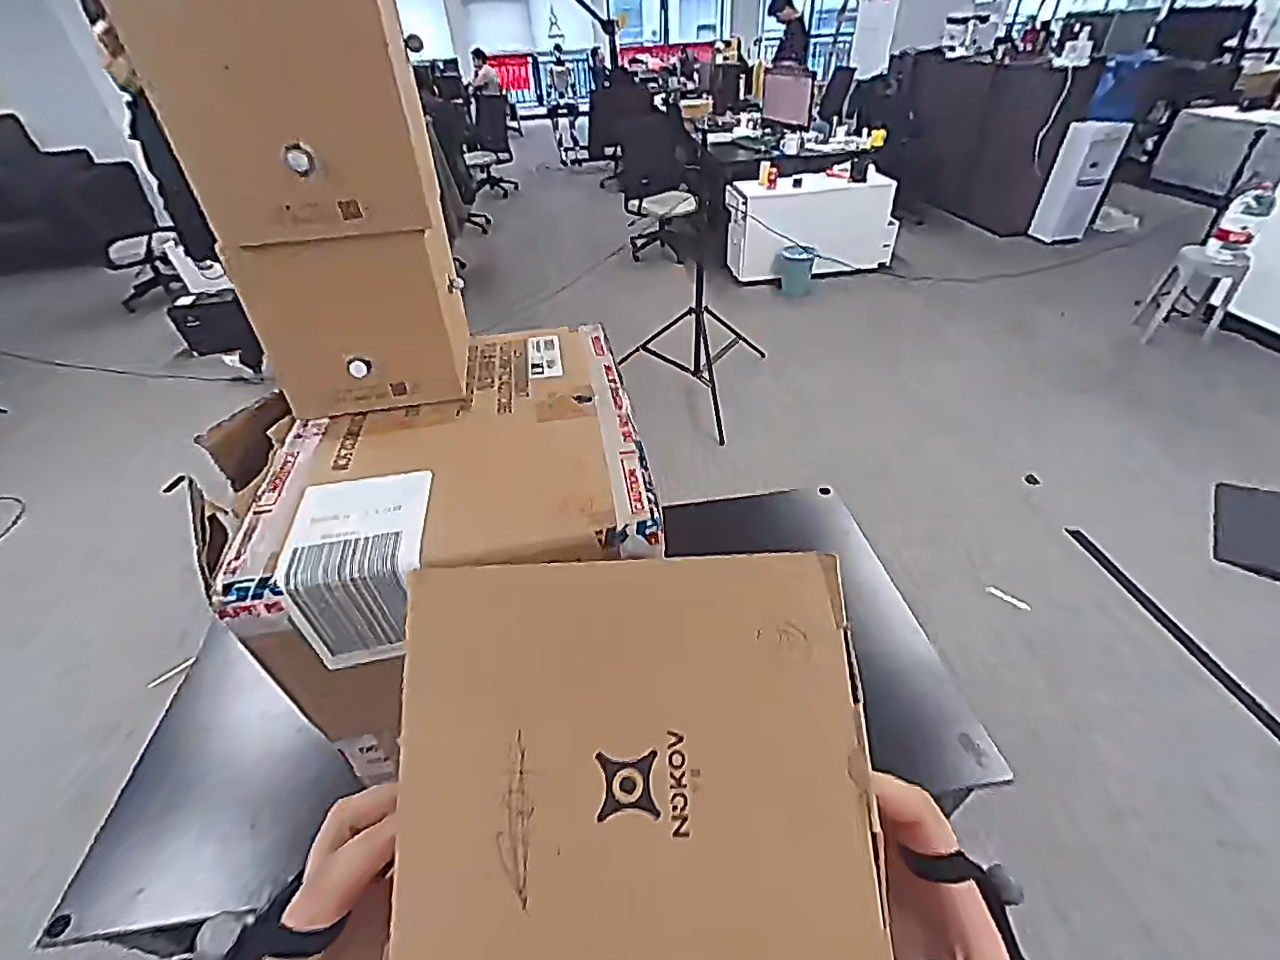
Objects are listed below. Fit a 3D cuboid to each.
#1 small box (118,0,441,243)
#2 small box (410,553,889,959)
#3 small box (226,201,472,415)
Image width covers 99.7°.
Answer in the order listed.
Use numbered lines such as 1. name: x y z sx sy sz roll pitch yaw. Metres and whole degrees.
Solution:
1. small box: -0.277 -0.314 0.464 0.168 0.176 0.179 -11 39 -10
2. small box: -0.001 0.132 0.288 0.179 0.176 0.168 -3 75 -2
3. small box: -0.280 -0.188 0.572 0.168 0.176 0.179 -9 39 -9
